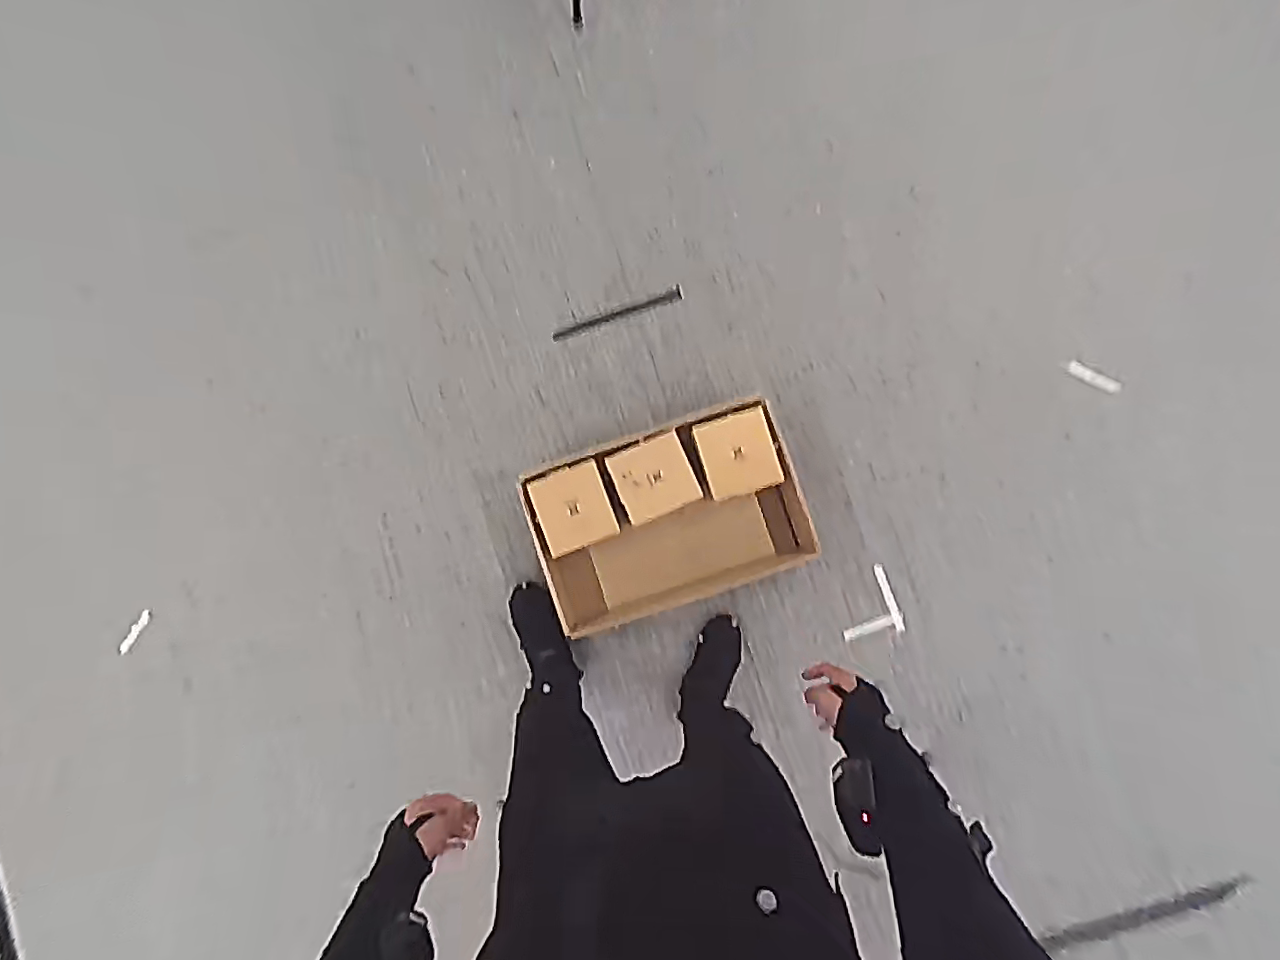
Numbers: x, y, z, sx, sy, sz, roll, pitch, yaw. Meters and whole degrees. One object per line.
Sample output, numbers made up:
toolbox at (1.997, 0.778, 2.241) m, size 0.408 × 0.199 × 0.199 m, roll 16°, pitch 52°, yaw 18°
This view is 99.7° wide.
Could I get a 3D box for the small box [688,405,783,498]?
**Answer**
small box at (0.219, -0.062, 1.289) m, size 0.168 × 0.176 × 0.179 m, roll -18°, pitch 90°, yaw 2°
